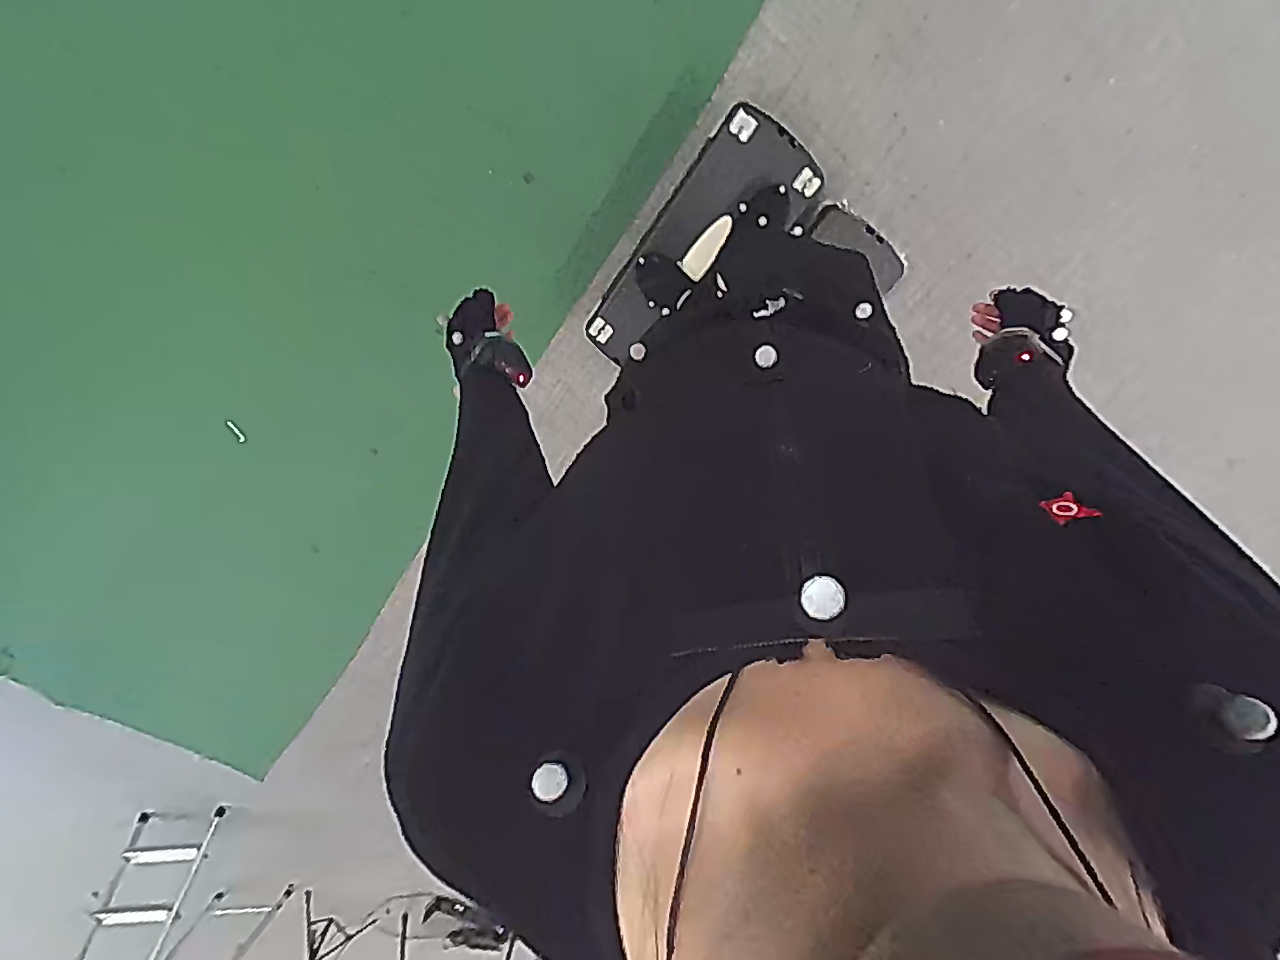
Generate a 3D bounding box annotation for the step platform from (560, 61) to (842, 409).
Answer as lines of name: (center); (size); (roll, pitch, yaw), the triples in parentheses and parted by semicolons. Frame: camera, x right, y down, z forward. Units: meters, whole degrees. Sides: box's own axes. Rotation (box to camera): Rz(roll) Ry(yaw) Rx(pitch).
step platform: (0.107, -0.507, 1.213); (0.286, 0.204, 0.684); (32, 114, -16)
